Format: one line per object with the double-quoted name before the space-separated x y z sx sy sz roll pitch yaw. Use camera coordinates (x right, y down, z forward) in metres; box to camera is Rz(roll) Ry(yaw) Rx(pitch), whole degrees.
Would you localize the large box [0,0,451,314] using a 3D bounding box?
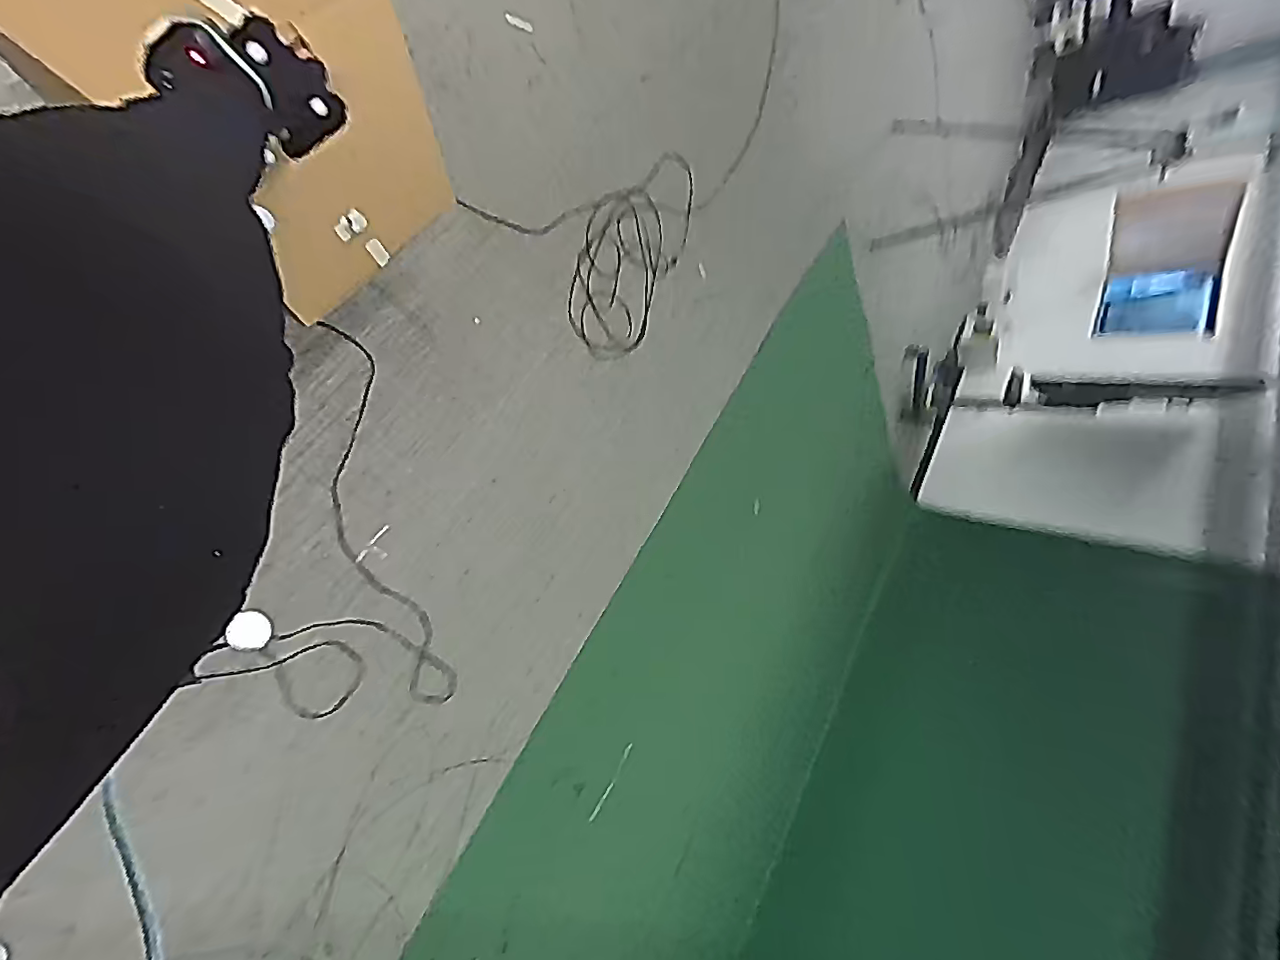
"large box" -0.541 -0.507 0.725 0.320 0.408 0.320 -51 169 -18
